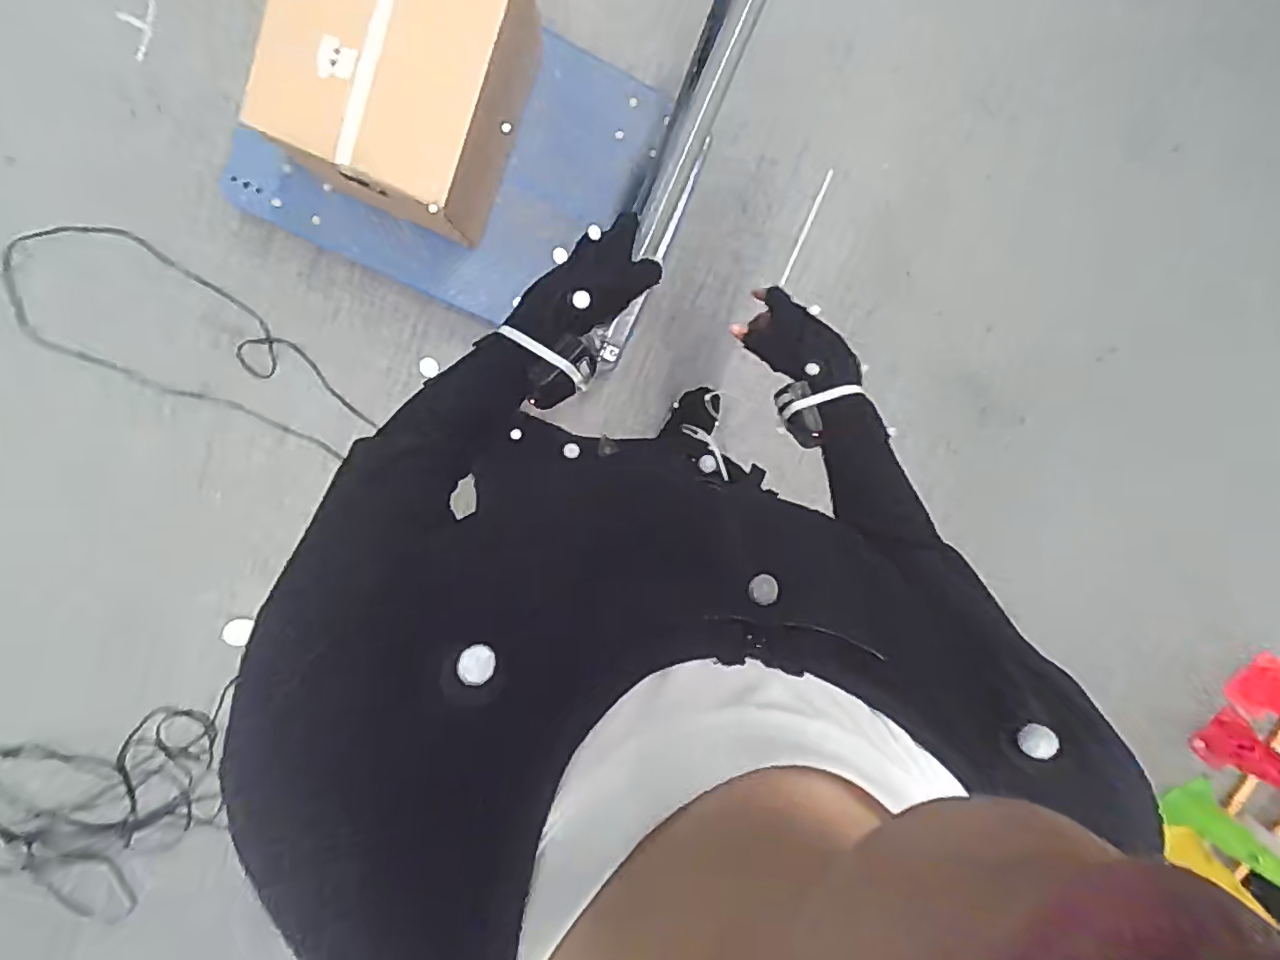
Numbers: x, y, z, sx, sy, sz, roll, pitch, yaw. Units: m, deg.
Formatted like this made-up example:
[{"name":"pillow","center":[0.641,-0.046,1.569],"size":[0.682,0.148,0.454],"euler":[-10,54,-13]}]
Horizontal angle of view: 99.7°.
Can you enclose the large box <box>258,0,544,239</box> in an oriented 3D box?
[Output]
[{"name":"large box","center":[-0.381,-0.709,0.950],"size":[0.320,0.320,0.408],"euler":[21,100,-9]}]
